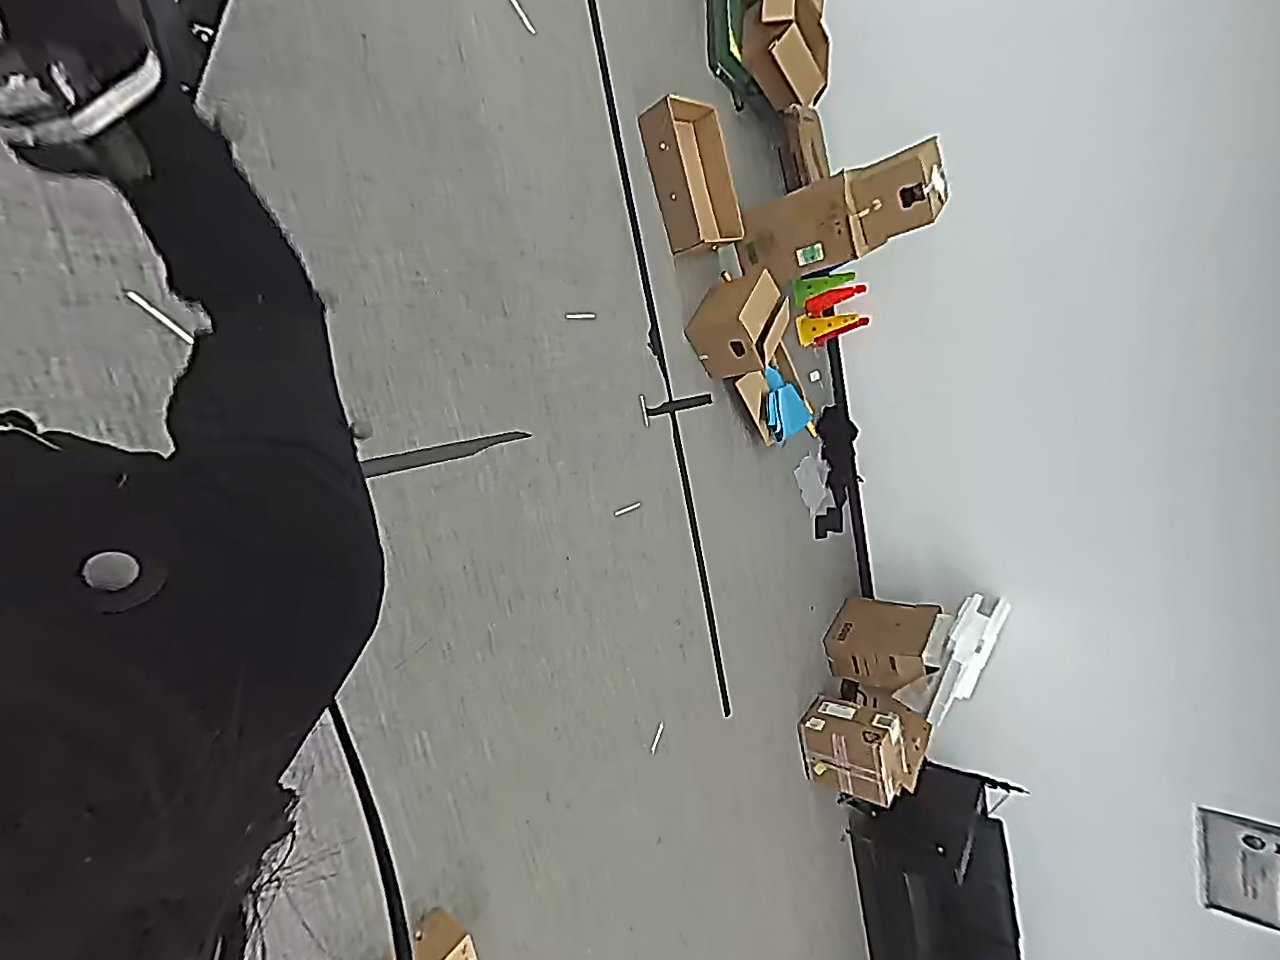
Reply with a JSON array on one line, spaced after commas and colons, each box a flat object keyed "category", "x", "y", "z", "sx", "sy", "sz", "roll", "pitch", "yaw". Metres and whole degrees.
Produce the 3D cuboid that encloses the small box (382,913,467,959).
[{"category": "small box", "x": -0.590, "y": 1.356, "z": 1.480, "sx": 0.179, "sy": 0.176, "sz": 0.168, "roll": -21, "pitch": 103, "yaw": -47}]
